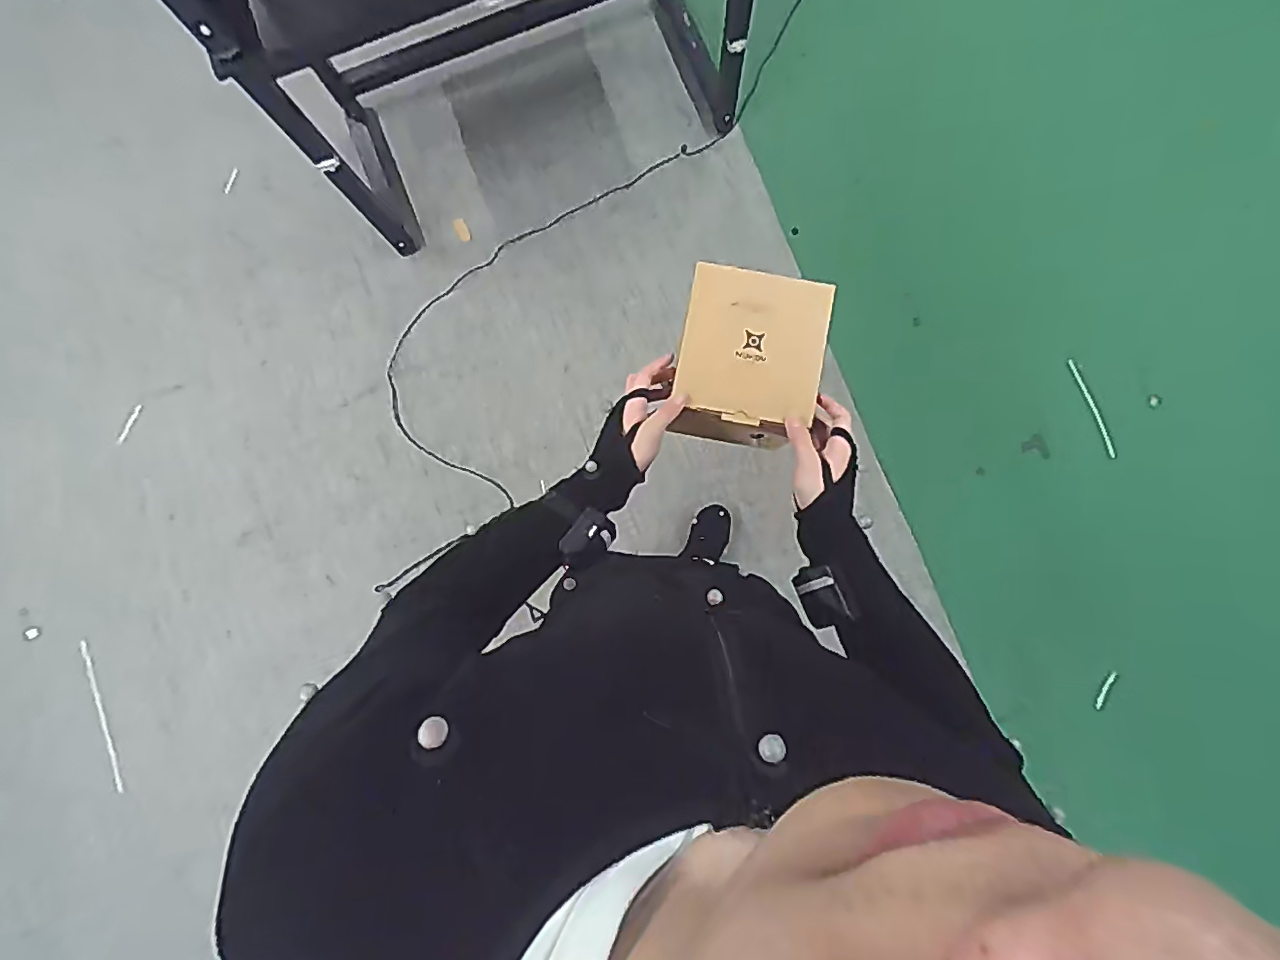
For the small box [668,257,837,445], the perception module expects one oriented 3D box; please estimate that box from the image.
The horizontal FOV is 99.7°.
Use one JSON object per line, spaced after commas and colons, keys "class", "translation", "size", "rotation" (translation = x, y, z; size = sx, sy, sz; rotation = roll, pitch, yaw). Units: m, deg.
{"class": "small box", "translation": [0.130, -0.150, 0.690], "size": [0.168, 0.176, 0.179], "rotation": [11, 84, 1]}
